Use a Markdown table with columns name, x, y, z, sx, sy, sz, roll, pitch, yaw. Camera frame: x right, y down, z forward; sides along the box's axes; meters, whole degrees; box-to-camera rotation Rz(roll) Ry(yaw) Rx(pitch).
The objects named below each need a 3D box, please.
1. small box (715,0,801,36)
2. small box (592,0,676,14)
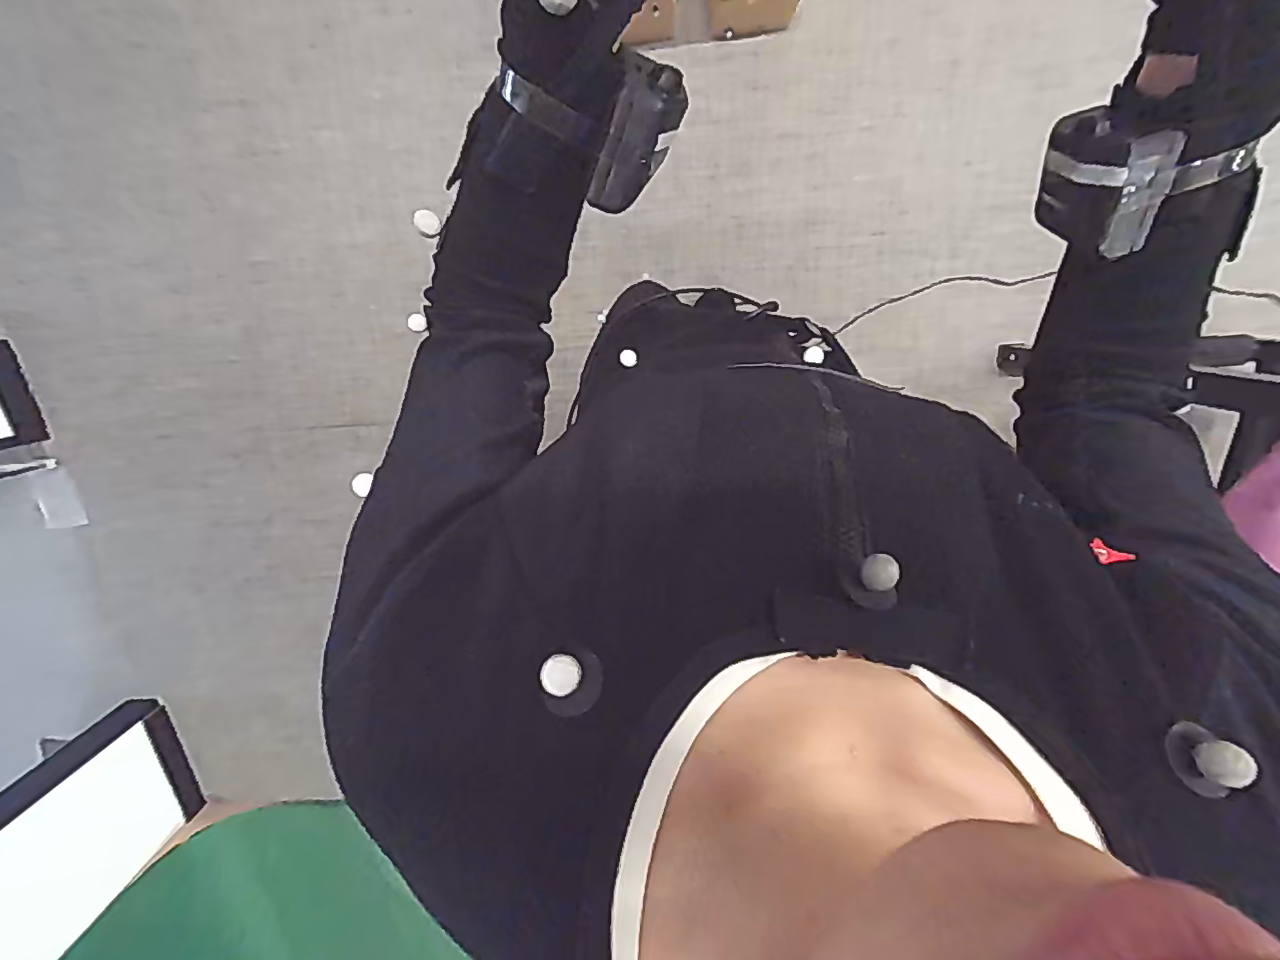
| name | x | y | z | sx | sy | sz | roll | pitch | yaw |
| --- | --- | --- | --- | --- | --- | --- | --- | --- | --- |
| small box | 0.238 | -1.023 | 1.075 | 0.168 | 0.176 | 0.179 | -3 | 107 | 5 |
| small box | -0.019 | -0.966 | 0.941 | 0.168 | 0.176 | 0.179 | -2 | 107 | 5 |
